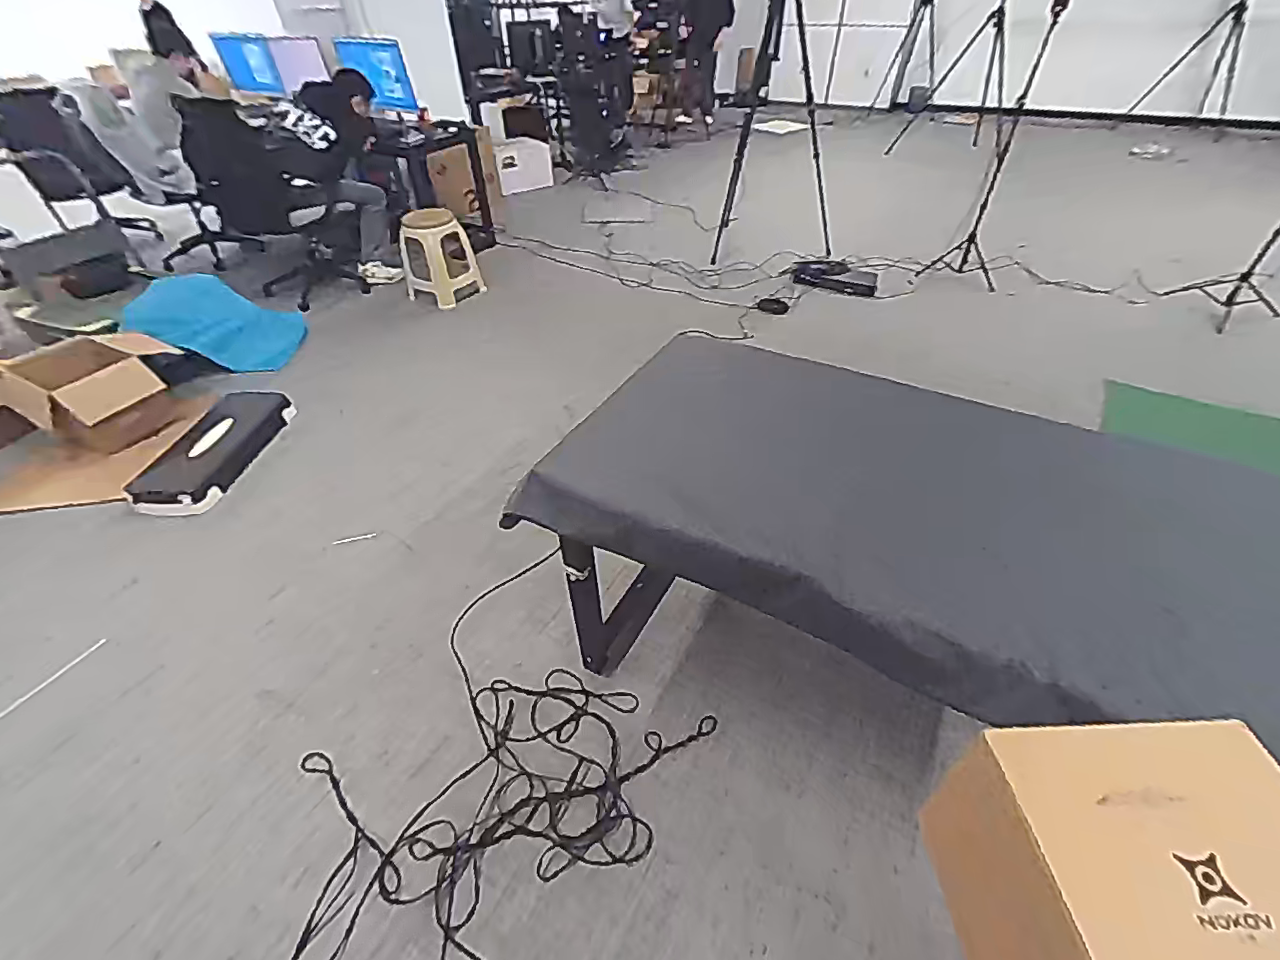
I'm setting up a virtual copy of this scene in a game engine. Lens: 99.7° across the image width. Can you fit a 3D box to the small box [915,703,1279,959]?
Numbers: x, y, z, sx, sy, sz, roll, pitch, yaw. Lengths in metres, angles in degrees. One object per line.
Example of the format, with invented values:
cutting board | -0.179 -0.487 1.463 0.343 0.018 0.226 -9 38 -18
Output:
small box | 0.311 0.269 0.351 0.168 0.176 0.179 -2 41 2
